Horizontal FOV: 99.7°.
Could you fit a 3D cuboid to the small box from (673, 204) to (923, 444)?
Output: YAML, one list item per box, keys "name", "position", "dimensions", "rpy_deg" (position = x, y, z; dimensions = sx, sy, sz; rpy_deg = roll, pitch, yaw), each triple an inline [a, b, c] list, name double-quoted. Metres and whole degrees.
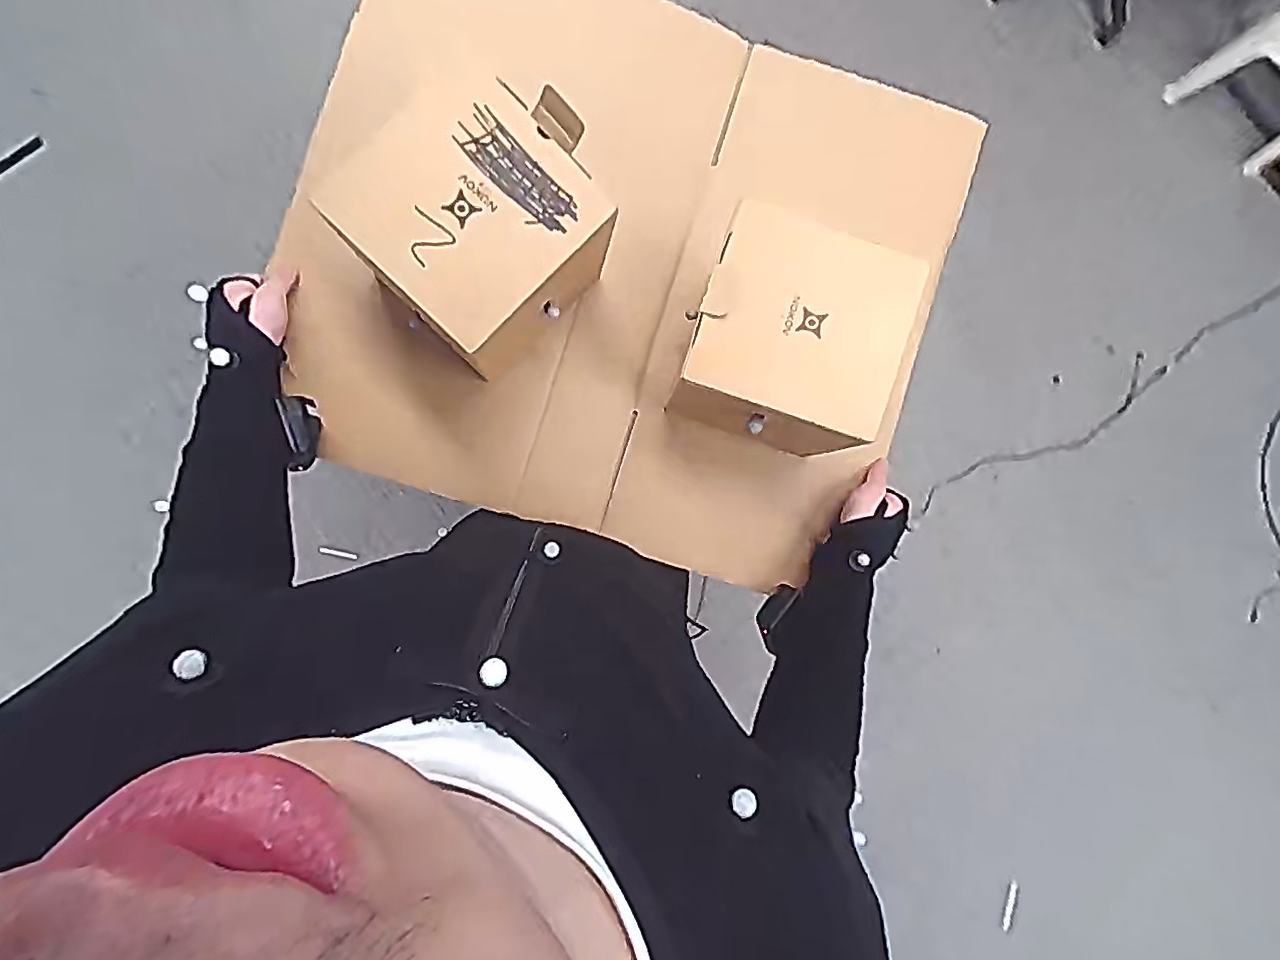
- name: "small box"
  position: [0.143, -0.140, 0.554]
  dimensions: [0.179, 0.176, 0.168]
  rpy_deg: [17, 88, 0]
